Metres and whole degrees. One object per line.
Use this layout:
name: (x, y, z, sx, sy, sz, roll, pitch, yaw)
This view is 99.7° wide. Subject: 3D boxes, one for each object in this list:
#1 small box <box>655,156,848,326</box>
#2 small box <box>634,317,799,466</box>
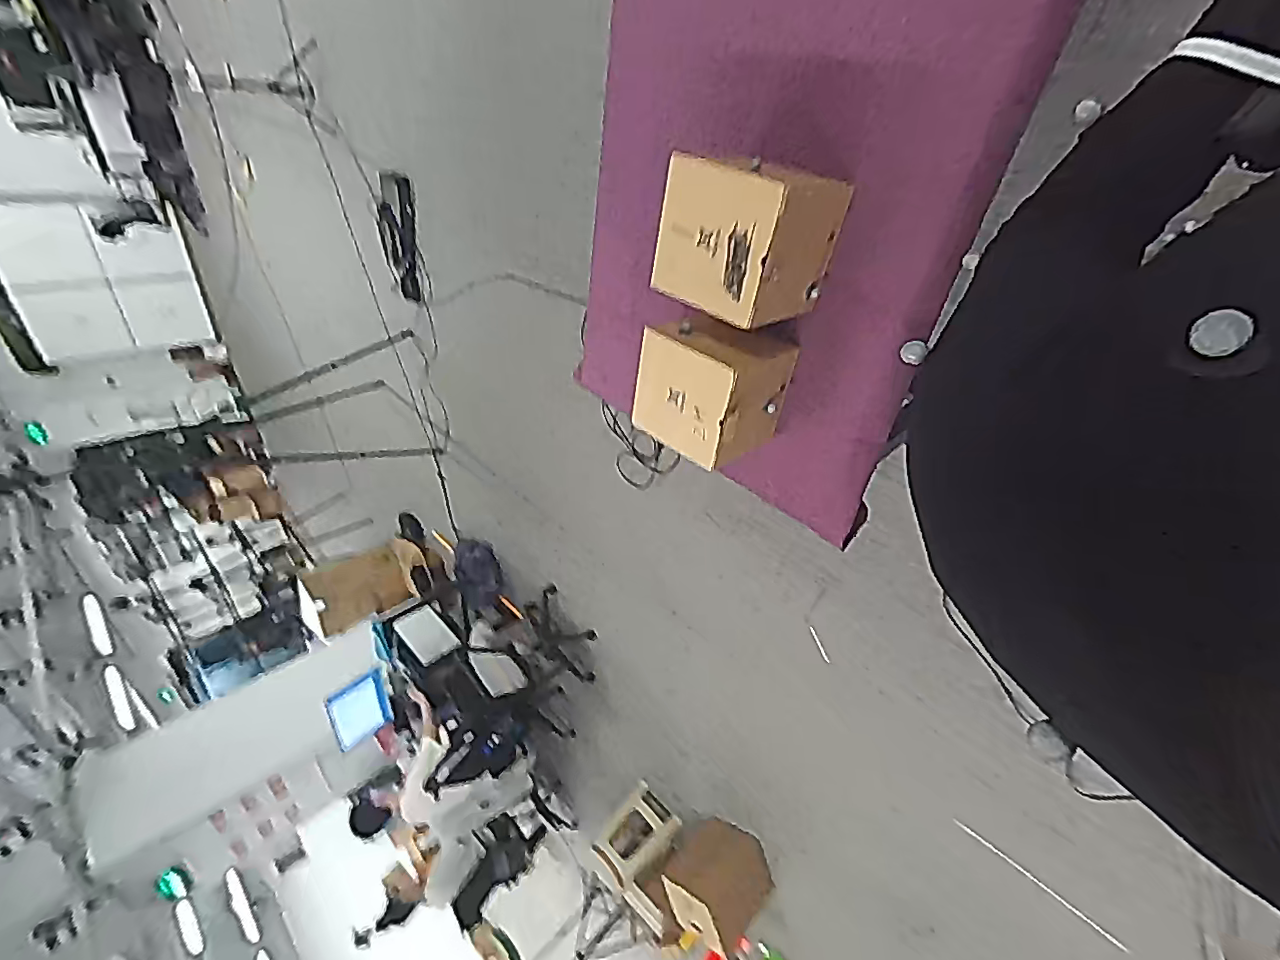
small box: (0.149, -0.329, 0.734, 0.179, 0.176, 0.168, 36, 132, 31)
small box: (0.118, -0.151, 0.860, 0.179, 0.176, 0.168, 34, 132, 31)
